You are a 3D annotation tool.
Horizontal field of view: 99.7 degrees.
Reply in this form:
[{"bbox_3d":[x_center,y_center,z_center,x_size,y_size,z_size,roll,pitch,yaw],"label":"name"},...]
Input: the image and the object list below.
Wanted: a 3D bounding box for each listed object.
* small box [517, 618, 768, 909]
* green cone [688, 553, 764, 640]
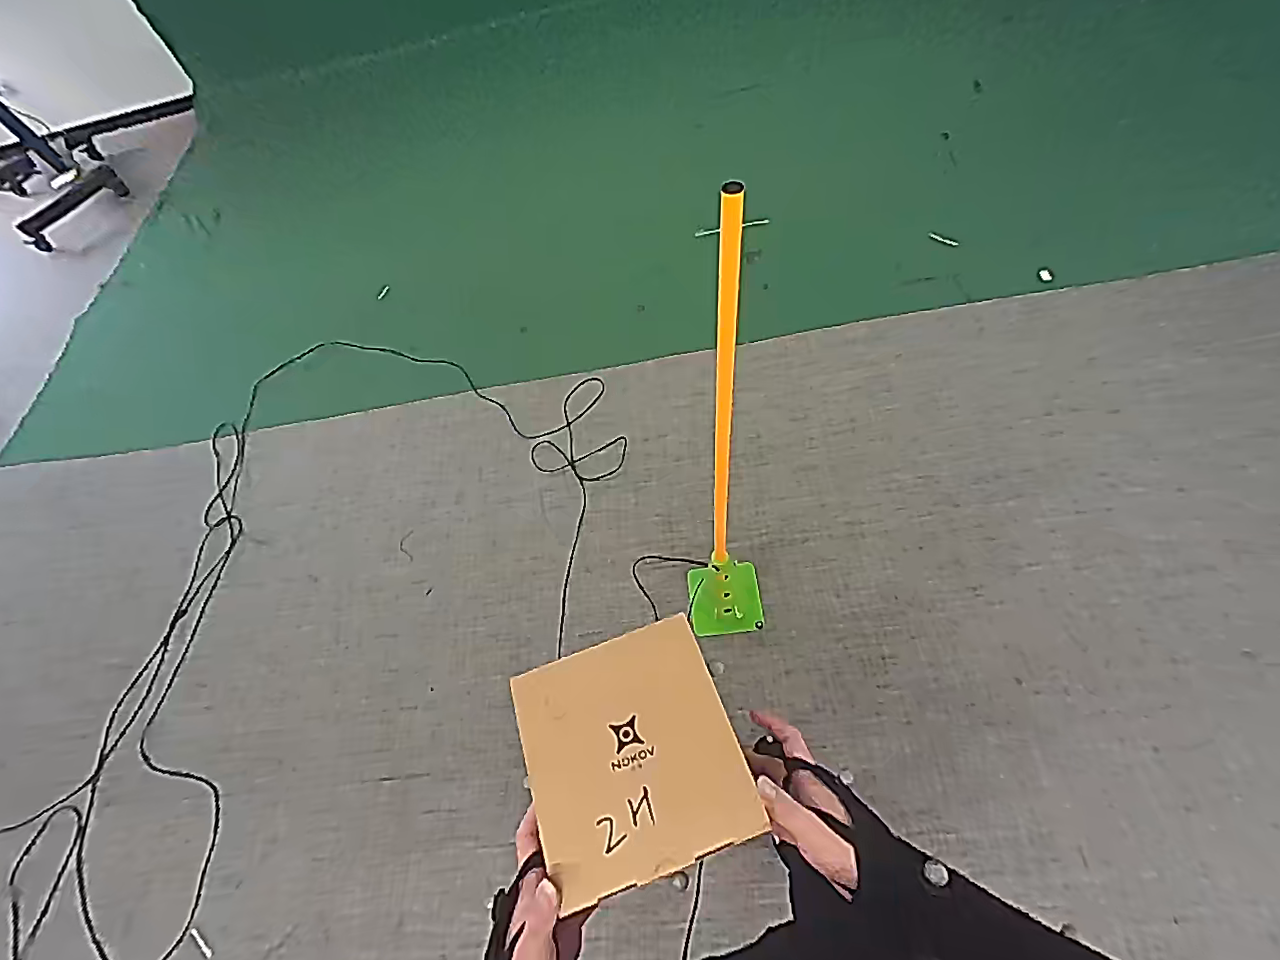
[{"bbox_3d":[0.001,0.259,0.501,0.168,0.176,0.179,-19,56,-4],"label":"small box"},{"bbox_3d":[0.213,0.270,1.414,0.202,0.368,0.200,-9,60,7],"label":"green cone"}]
